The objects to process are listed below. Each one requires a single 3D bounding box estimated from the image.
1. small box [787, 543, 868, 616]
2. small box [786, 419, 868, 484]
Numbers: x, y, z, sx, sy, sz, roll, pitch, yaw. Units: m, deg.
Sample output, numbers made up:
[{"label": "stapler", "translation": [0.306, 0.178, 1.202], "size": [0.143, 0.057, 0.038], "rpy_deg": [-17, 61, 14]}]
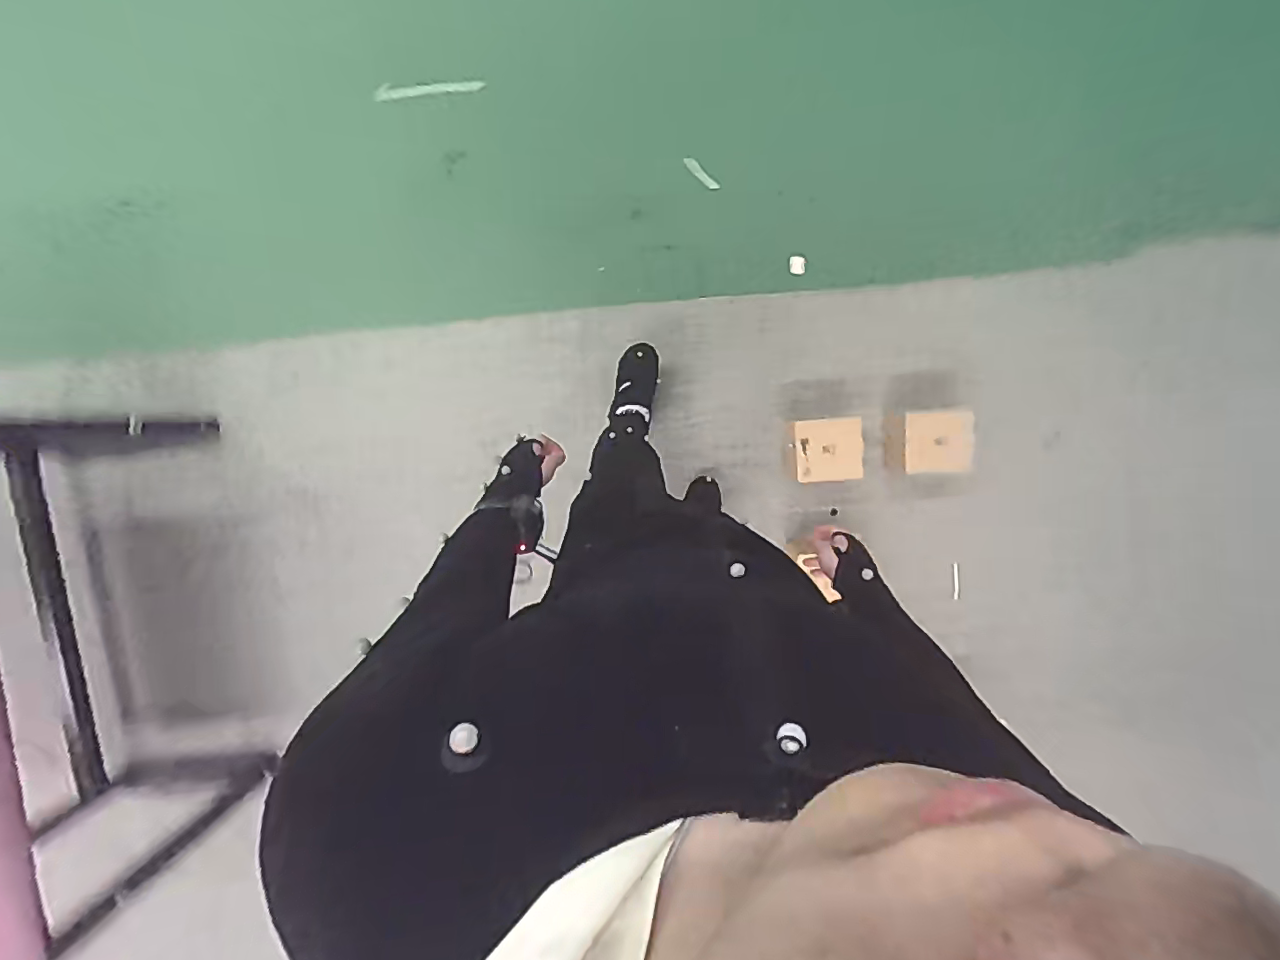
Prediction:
[{"label": "small box", "translation": [0.522, 0.274, 1.522], "size": [0.179, 0.176, 0.168], "rpy_deg": [-1, 95, 4]}, {"label": "small box", "translation": [0.509, -0.082, 1.486], "size": [0.179, 0.176, 0.168], "rpy_deg": [-3, 95, 3]}]
